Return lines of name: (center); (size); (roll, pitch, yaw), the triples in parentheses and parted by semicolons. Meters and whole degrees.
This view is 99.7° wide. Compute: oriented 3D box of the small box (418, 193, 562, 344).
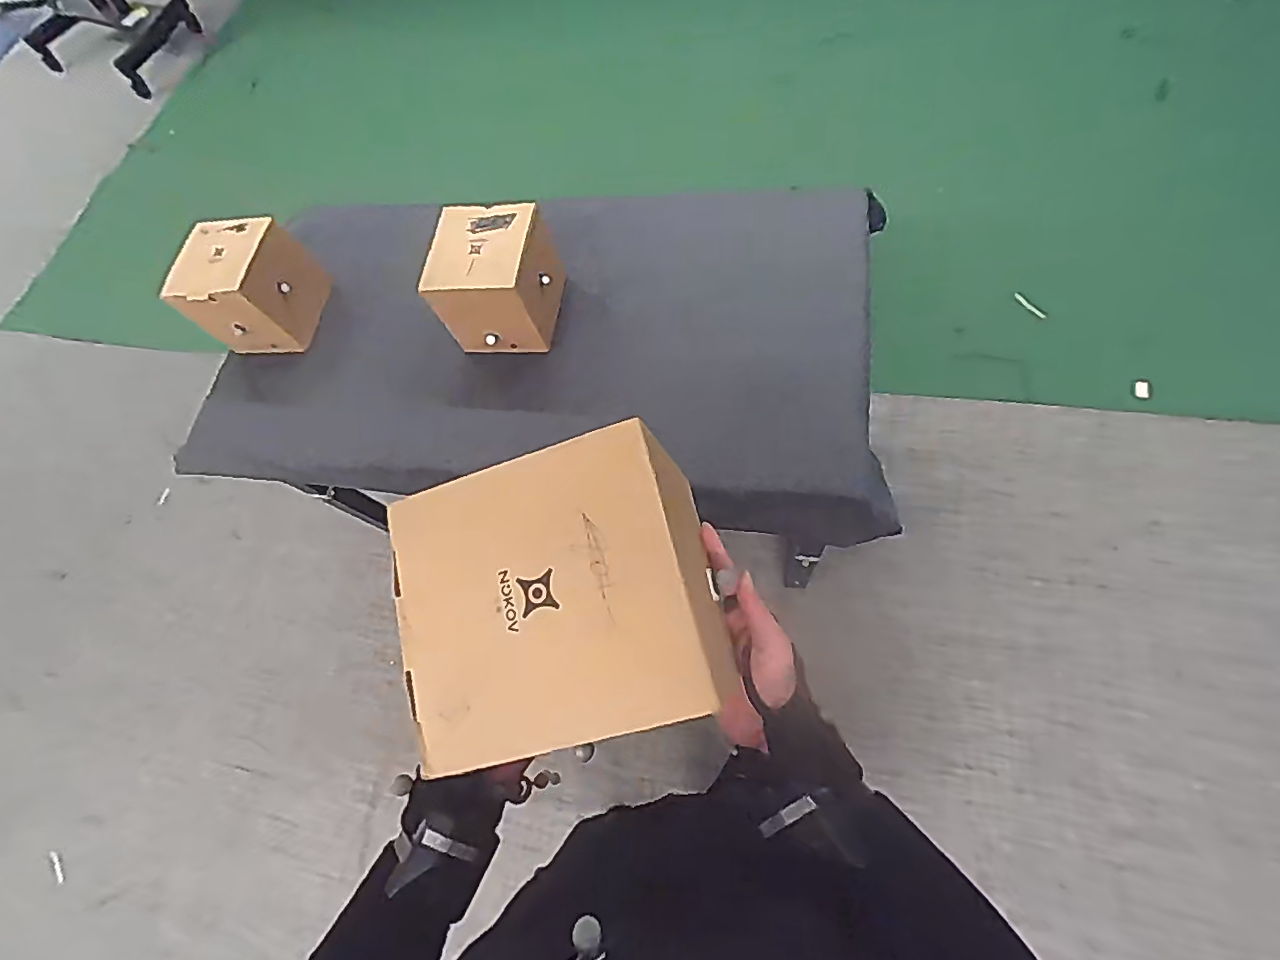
small box: (-0.242, -0.356, 0.926); (0.168, 0.176, 0.179); (3, 70, 12)

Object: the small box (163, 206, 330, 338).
small box: (-0.731, -0.384, 1.027); (0.168, 0.176, 0.179); (2, 69, 11)

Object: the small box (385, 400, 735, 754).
small box: (-0.042, 0.070, 0.383); (0.179, 0.176, 0.168); (-18, 75, 9)
